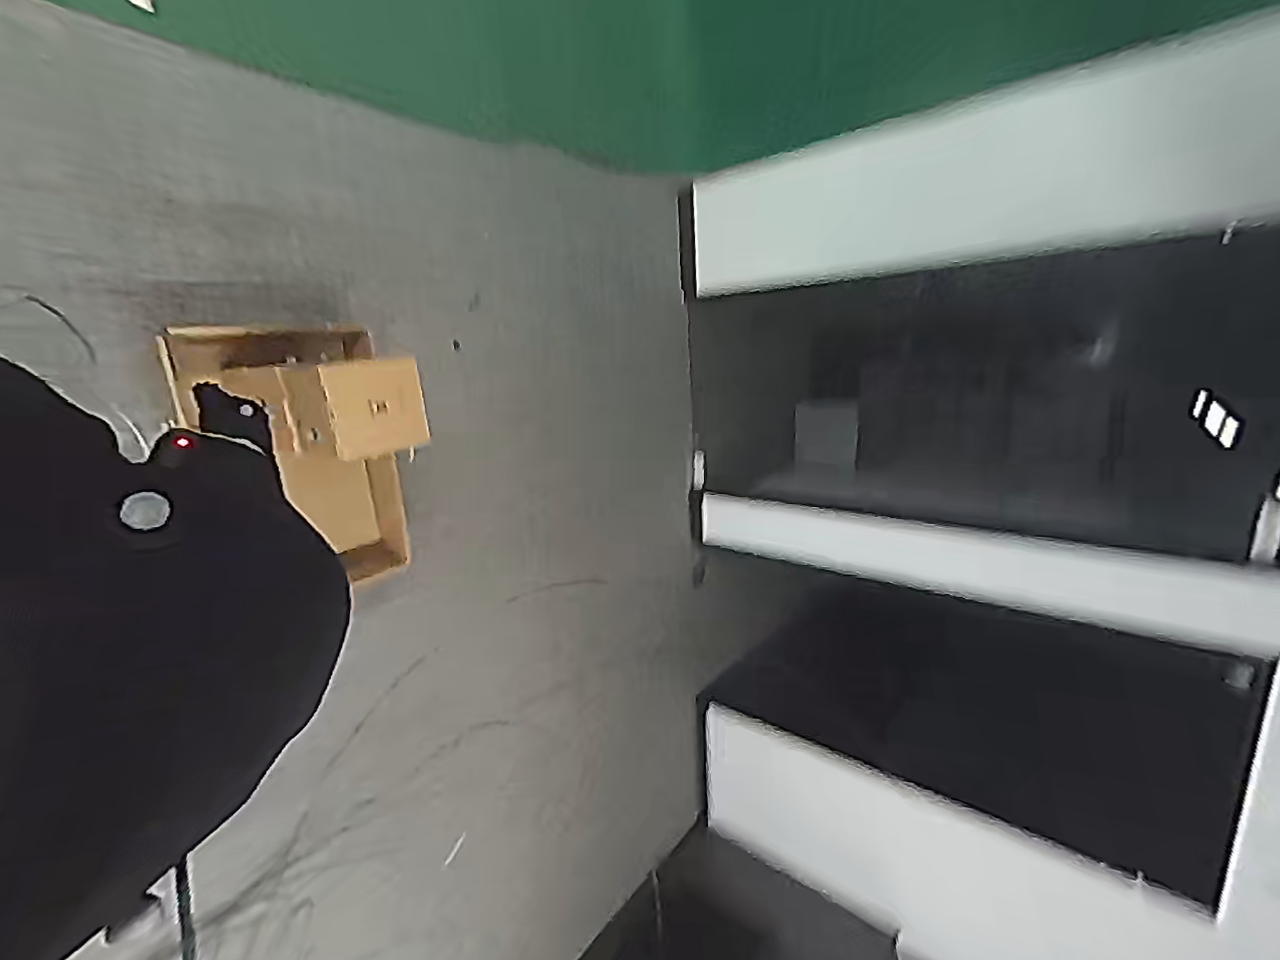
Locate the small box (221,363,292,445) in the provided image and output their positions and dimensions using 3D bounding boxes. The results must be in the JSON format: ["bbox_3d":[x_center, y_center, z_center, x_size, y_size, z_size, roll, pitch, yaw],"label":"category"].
[{"bbox_3d":[-0.795,-0.176,1.211,0.179,0.176,0.168,-18,111,-50],"label":"small box"}]

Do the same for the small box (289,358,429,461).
[{"bbox_3d":[-0.533,-0.139,1.020,0.179,0.176,0.168,-22,116,-49],"label":"small box"}]

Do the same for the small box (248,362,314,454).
[{"bbox_3d":[-0.666,-0.156,1.114,0.179,0.176,0.168,-20,113,-49],"label":"small box"}]
